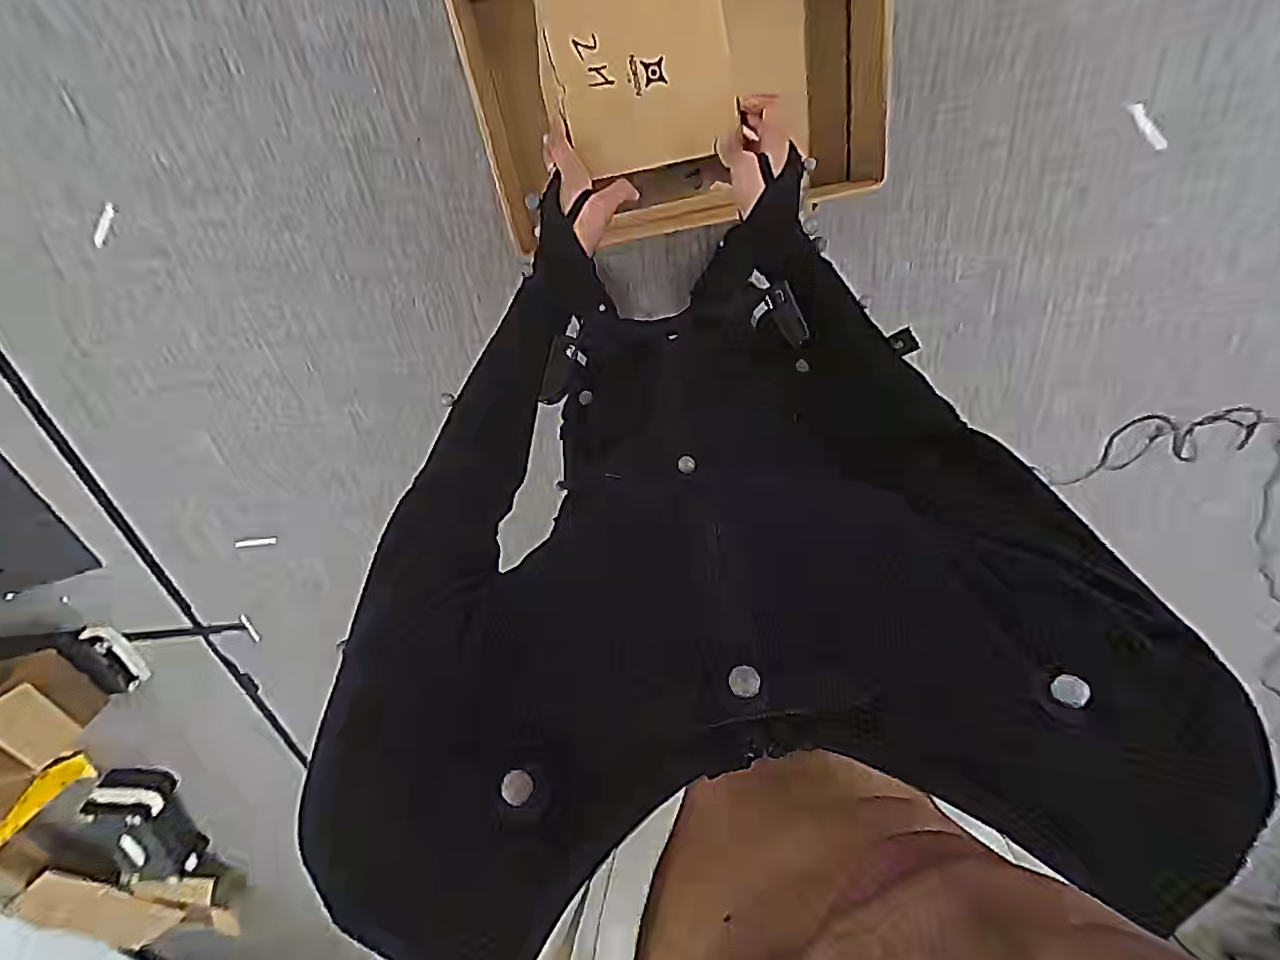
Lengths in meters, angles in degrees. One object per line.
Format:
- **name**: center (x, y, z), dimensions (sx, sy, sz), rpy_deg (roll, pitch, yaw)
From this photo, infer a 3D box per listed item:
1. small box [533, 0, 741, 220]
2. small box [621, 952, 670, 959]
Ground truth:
- **small box**: center (-0.009, -0.406, 0.594), dimensions (0.179, 0.176, 0.168), rpy_deg (-15, 104, -4)
- **small box**: center (0.026, 1.790, 1.894), dimensions (0.179, 0.176, 0.168), rpy_deg (-6, 120, 2)
